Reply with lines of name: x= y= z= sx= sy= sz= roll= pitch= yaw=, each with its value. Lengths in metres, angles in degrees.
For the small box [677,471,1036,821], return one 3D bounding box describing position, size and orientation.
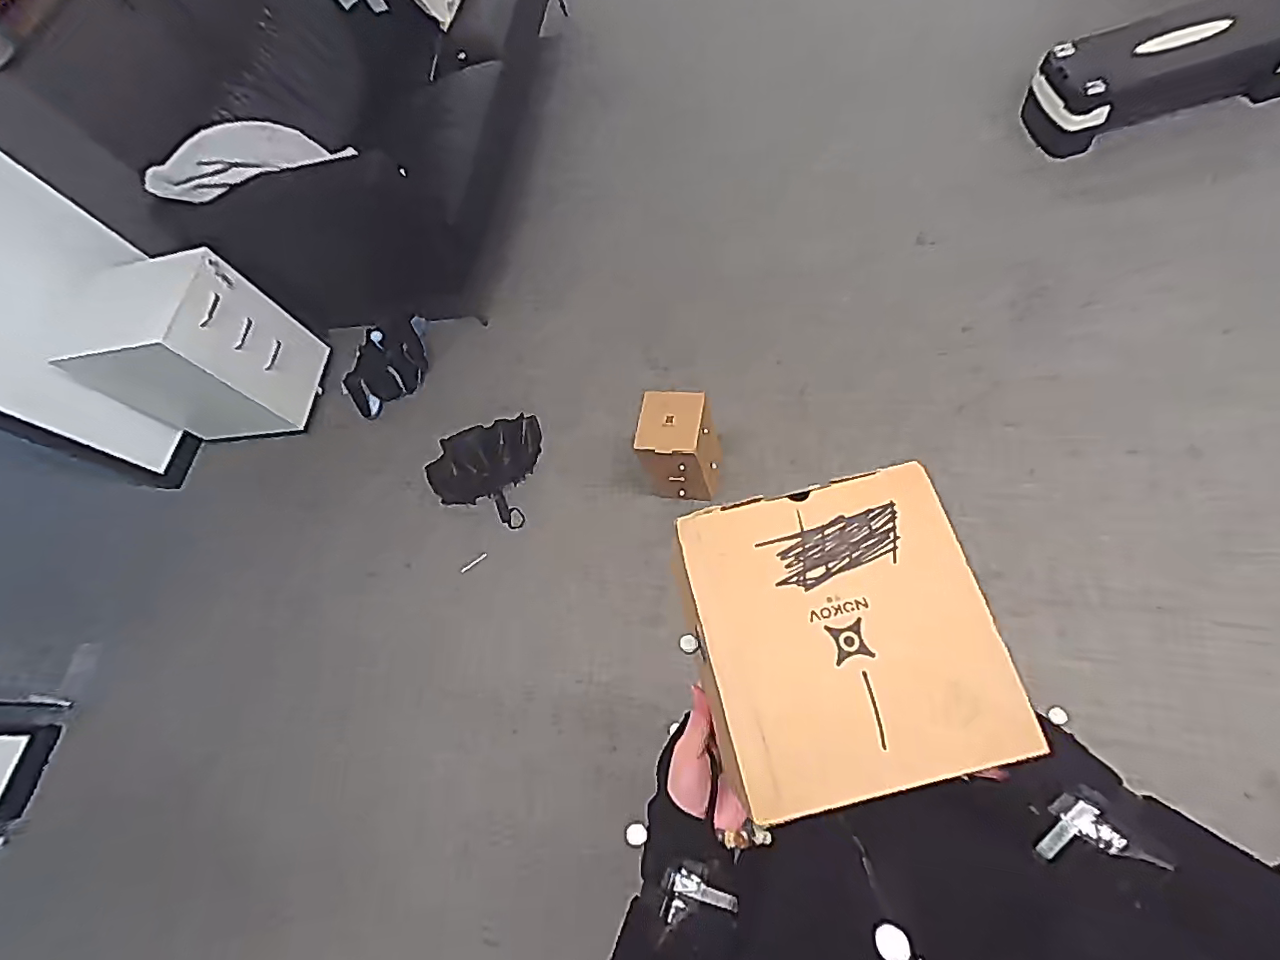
small box: x=0.124 y=0.115 z=0.396 sx=0.168 sy=0.176 sz=0.179 roll=-13 pitch=71 yaw=-1
